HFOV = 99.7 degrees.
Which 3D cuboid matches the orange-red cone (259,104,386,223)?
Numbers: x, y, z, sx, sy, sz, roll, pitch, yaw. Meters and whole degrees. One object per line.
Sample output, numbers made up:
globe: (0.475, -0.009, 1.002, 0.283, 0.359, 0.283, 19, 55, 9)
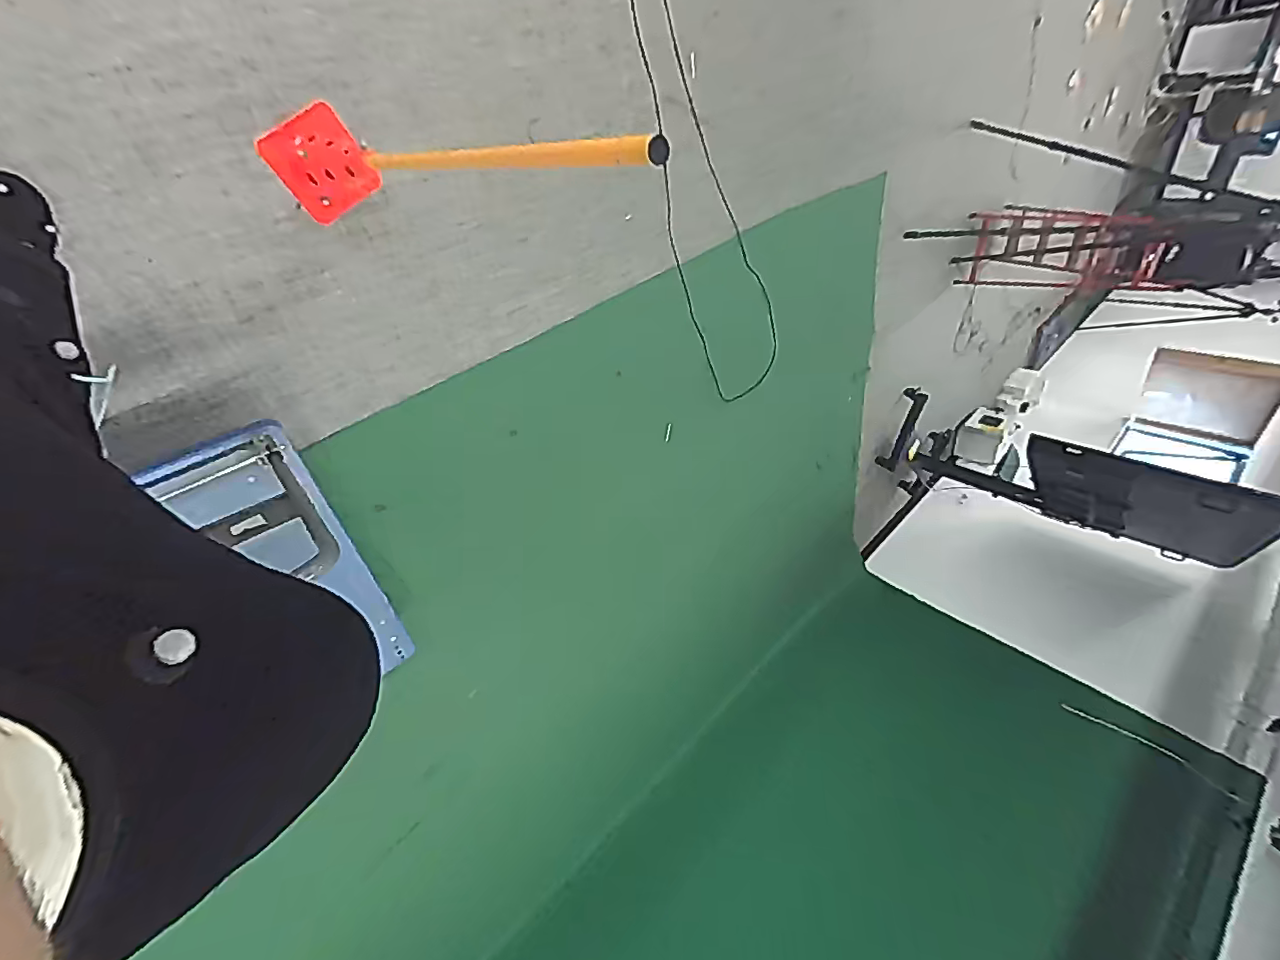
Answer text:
orange-red cone: (-0.631, -0.680, 1.164, 0.199, 0.360, 0.198, -48, 138, -17)
